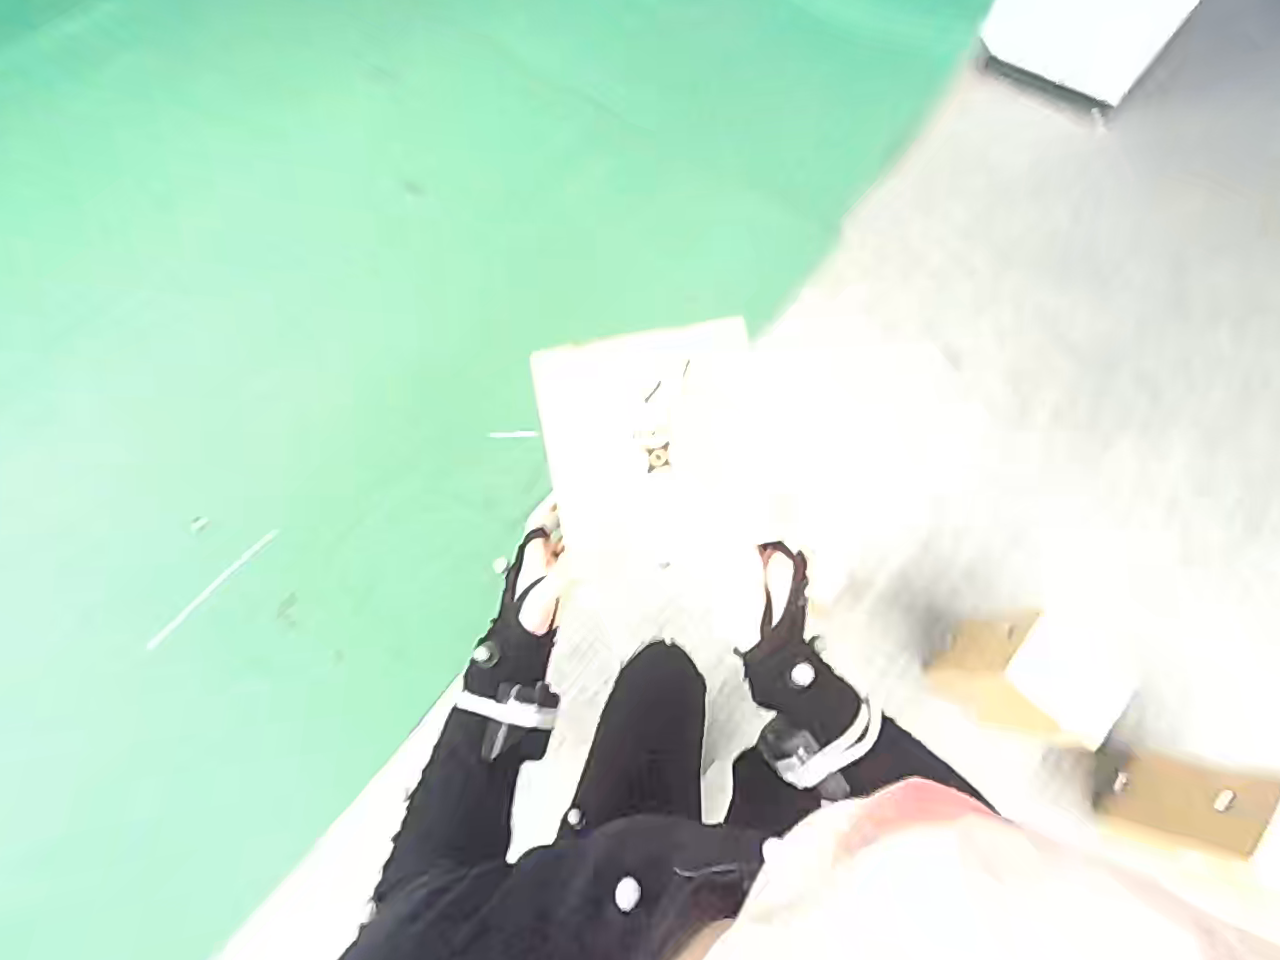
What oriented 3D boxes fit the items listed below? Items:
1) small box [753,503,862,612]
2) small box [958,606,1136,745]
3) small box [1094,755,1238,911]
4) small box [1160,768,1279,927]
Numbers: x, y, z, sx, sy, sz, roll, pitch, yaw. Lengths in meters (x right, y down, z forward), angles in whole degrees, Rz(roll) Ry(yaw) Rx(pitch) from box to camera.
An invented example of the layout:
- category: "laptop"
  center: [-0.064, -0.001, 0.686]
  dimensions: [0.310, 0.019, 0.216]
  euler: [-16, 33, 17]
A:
- category: "small box"
  center: [0.384, 0.190, 1.276]
  dimensions: [0.168, 0.176, 0.179]
  euler: [37, 74, 14]
- category: "small box"
  center: [0.749, 0.367, 1.018]
  dimensions: [0.179, 0.176, 0.168]
  euler: [42, 75, 16]
- category: "small box"
  center: [1.057, 0.677, 1.064]
  dimensions: [0.168, 0.176, 0.179]
  euler: [40, 76, 15]
- category: "small box"
  center: [1.046, 0.620, 0.909]
  dimensions: [0.168, 0.176, 0.179]
  euler: [42, 75, 16]
